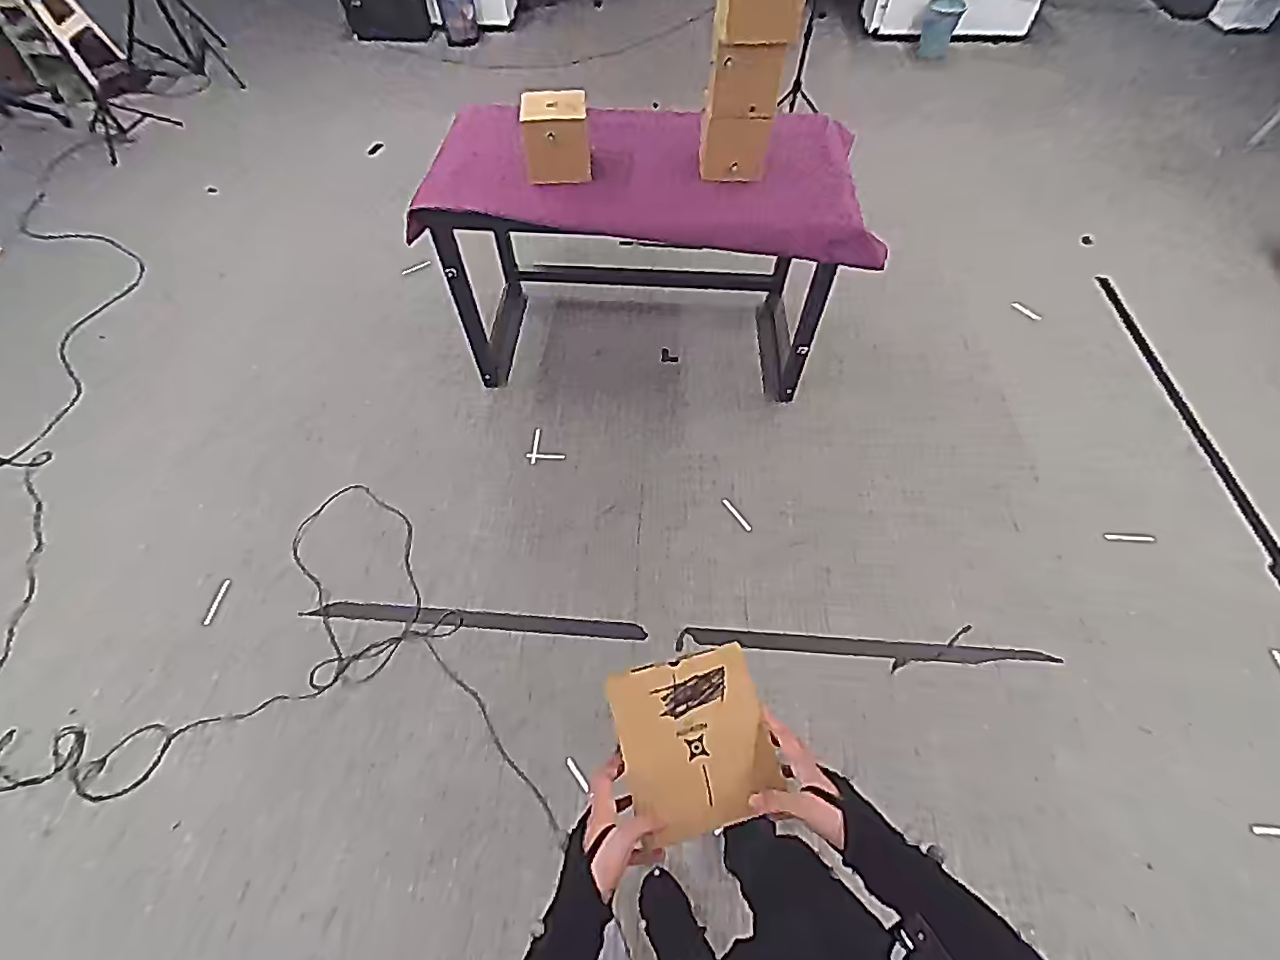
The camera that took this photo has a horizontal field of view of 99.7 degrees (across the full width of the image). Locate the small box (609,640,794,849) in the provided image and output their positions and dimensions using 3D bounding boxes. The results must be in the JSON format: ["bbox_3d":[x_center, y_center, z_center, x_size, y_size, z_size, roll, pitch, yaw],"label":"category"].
[{"bbox_3d":[0.058,0.315,0.658,0.168,0.176,0.179,-12,65,-9],"label":"small box"}]

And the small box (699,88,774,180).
[{"bbox_3d":[0.264,-0.966,1.517,0.179,0.176,0.168,1,57,0],"label":"small box"}]

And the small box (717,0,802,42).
[{"bbox_3d":[0.273,-1.127,1.230,0.179,0.176,0.168,-2,57,-1],"label":"small box"}]

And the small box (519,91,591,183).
[{"bbox_3d":[-0.232,-0.951,1.506,0.179,0.176,0.168,-3,57,-3],"label":"small box"}]
